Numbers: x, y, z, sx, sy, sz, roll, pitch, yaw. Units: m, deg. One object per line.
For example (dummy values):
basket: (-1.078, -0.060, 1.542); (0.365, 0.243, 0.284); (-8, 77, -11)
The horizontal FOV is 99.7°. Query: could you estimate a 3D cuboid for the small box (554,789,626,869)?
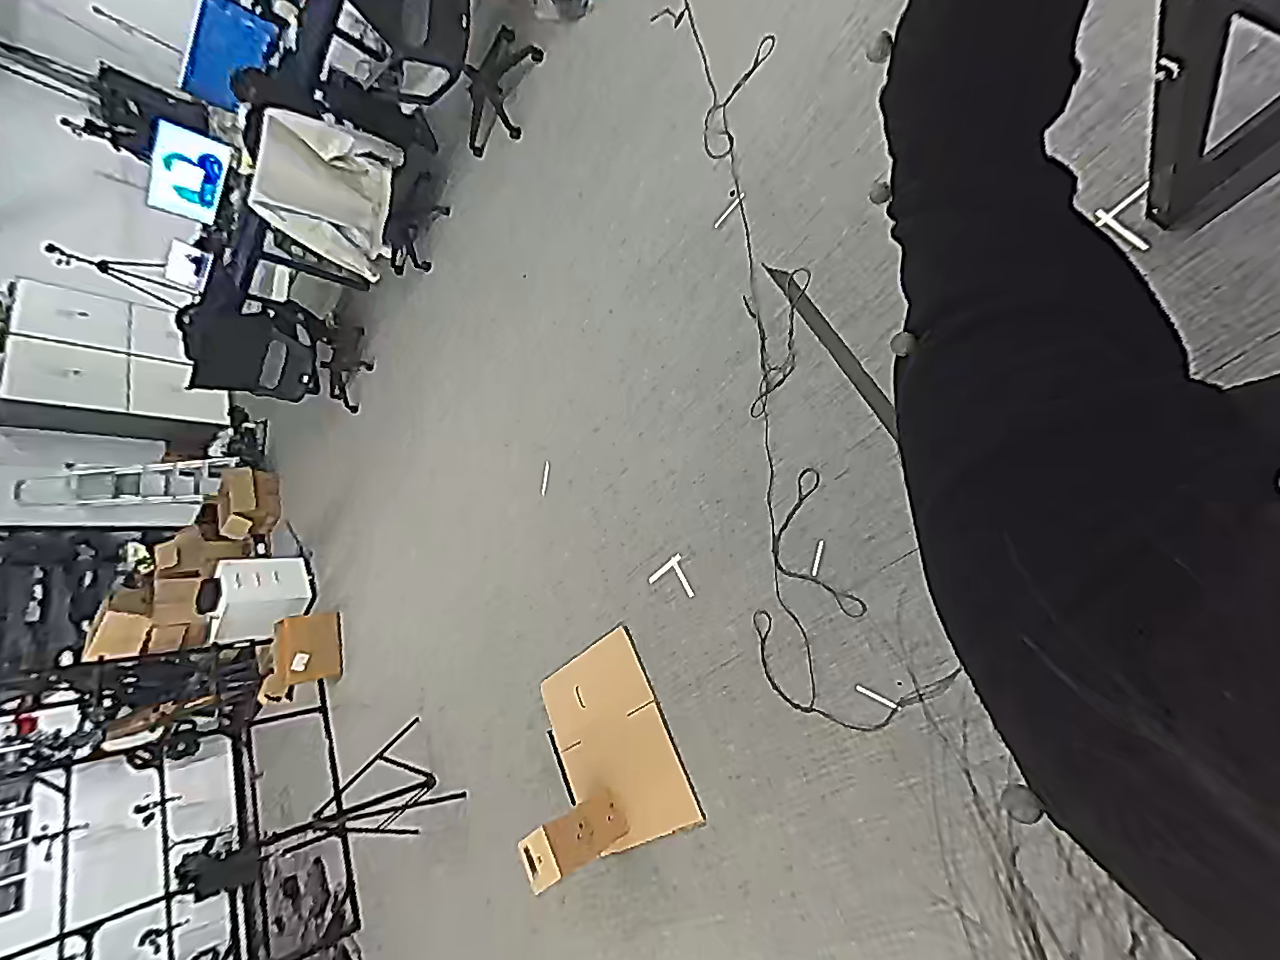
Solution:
small box: (-0.181, 1.279, 1.987); (0.179, 0.176, 0.168); (-52, 56, 26)
